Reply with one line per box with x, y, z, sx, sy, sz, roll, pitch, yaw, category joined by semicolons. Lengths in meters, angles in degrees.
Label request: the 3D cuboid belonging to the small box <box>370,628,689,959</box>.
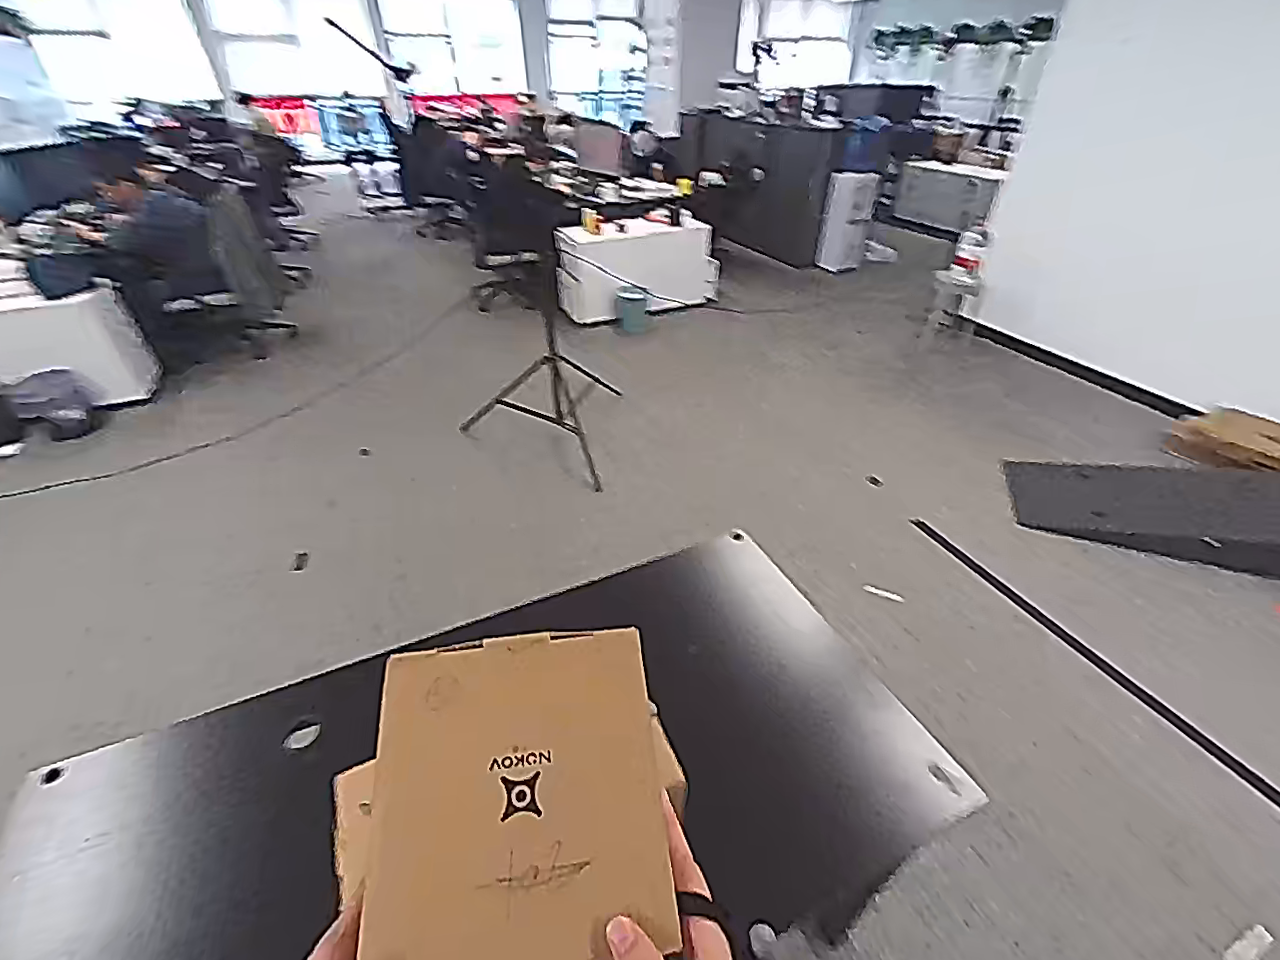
-0.072;0.221;0.385;0.168;0.176;0.179;-4;59;-8;small box
